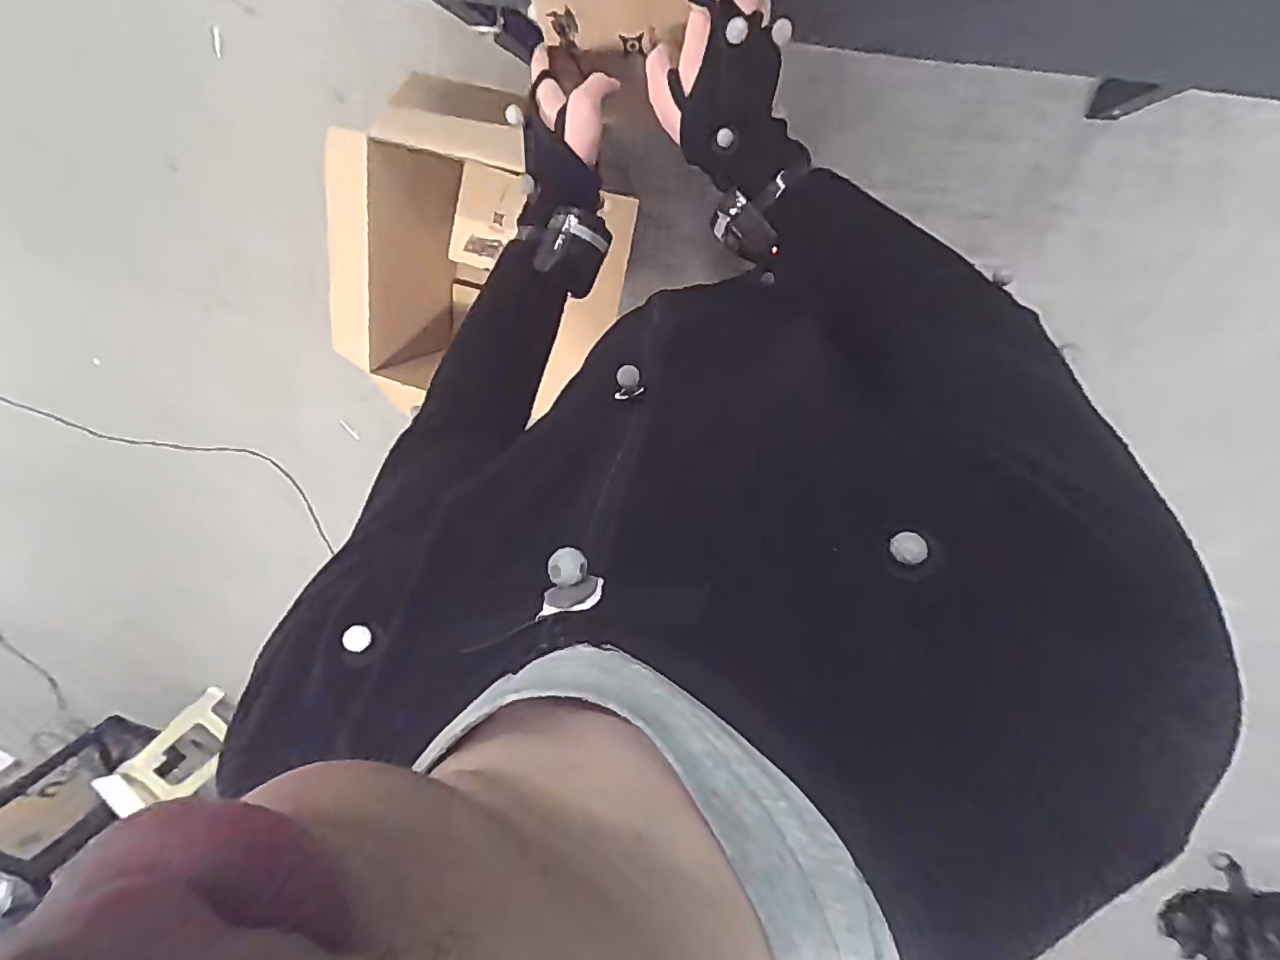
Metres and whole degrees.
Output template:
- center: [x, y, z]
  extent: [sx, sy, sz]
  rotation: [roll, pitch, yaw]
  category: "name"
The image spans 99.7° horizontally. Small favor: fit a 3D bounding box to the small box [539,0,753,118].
- center: [0.012, -0.464, 0.479]
  extent: [0.179, 0.168, 0.176]
  rotation: [3, 81, 8]
  category: "small box"
